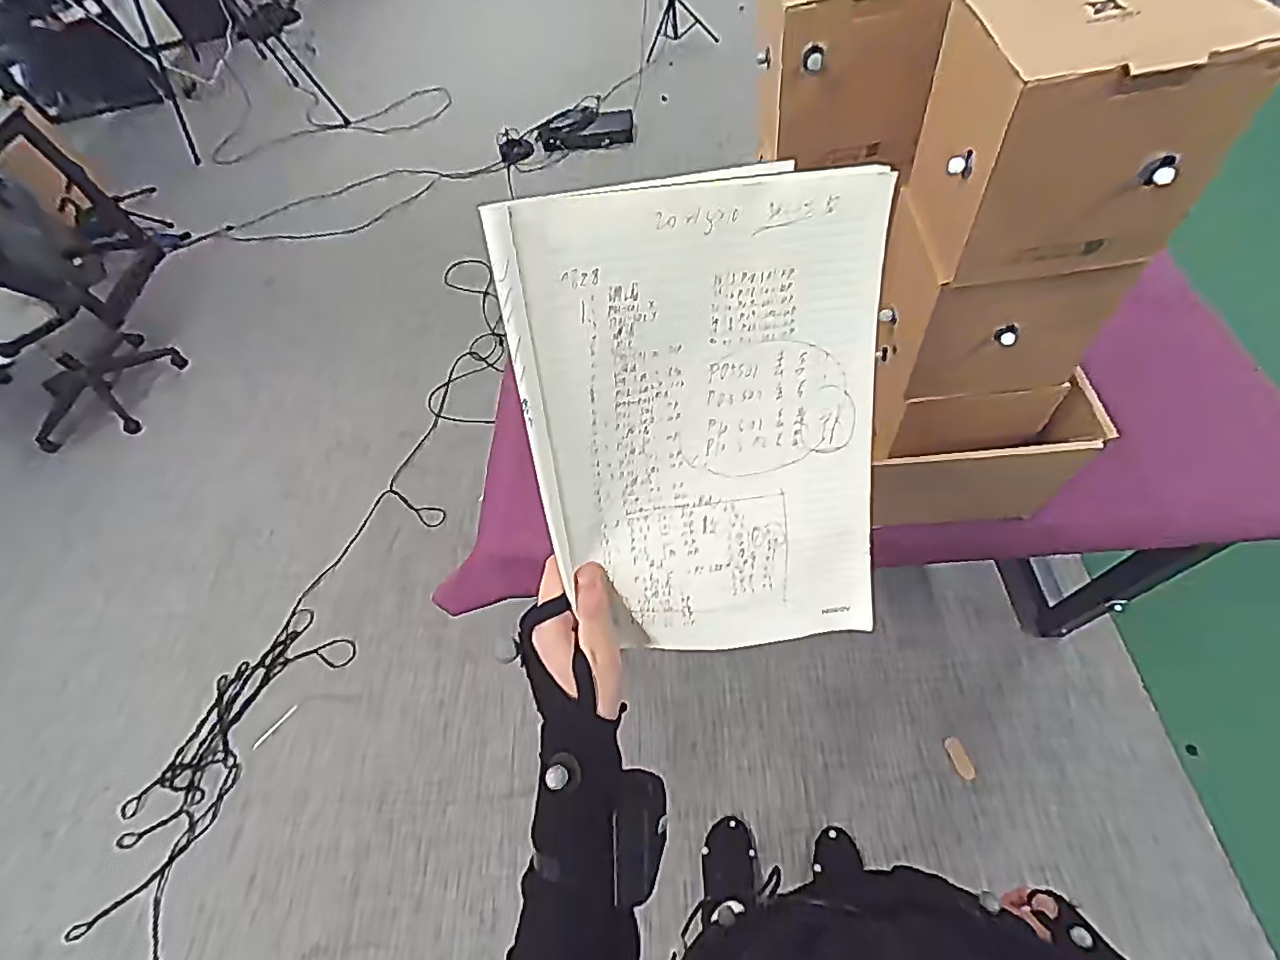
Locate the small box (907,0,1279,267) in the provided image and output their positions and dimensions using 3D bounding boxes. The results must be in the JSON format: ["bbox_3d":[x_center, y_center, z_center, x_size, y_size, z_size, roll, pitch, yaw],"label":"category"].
[{"bbox_3d":[0.347,-0.302,0.460,0.168,0.176,0.179,-4,57,10],"label":"small box"}]

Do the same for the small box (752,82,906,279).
[{"bbox_3d":[0.244,-0.396,0.740,0.168,0.176,0.179,-4,60,9],"label":"small box"}]

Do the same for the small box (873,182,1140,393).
[{"bbox_3d":[0.375,-0.216,0.597,0.179,0.176,0.168,-5,57,11],"label":"small box"}]
